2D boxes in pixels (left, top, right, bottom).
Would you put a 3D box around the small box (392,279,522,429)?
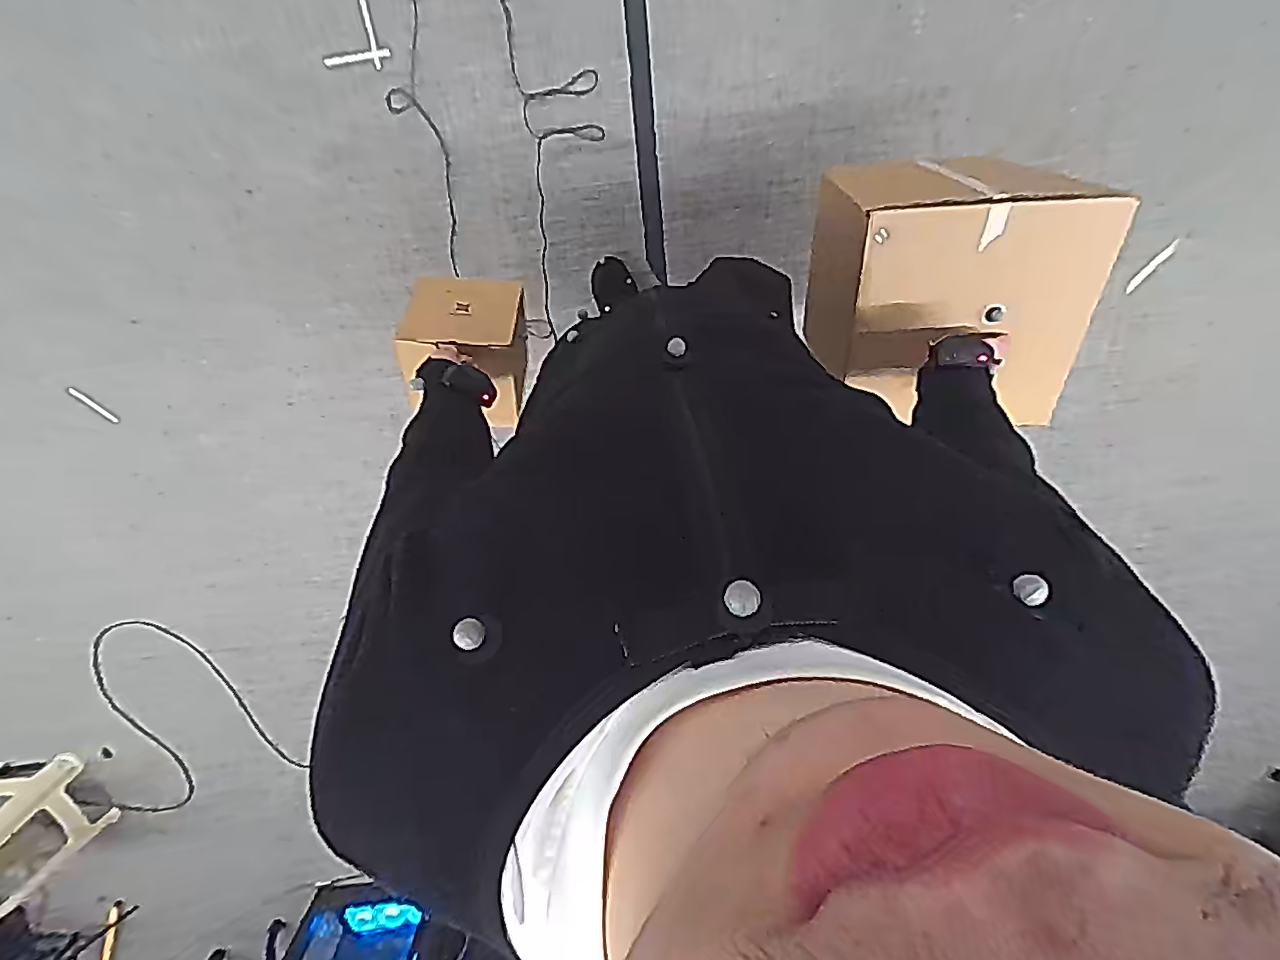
[{"bbox_3d":[-0.285,-0.201,0.886,0.168,0.179,0.176,3,140,-8],"label":"small box"}]
